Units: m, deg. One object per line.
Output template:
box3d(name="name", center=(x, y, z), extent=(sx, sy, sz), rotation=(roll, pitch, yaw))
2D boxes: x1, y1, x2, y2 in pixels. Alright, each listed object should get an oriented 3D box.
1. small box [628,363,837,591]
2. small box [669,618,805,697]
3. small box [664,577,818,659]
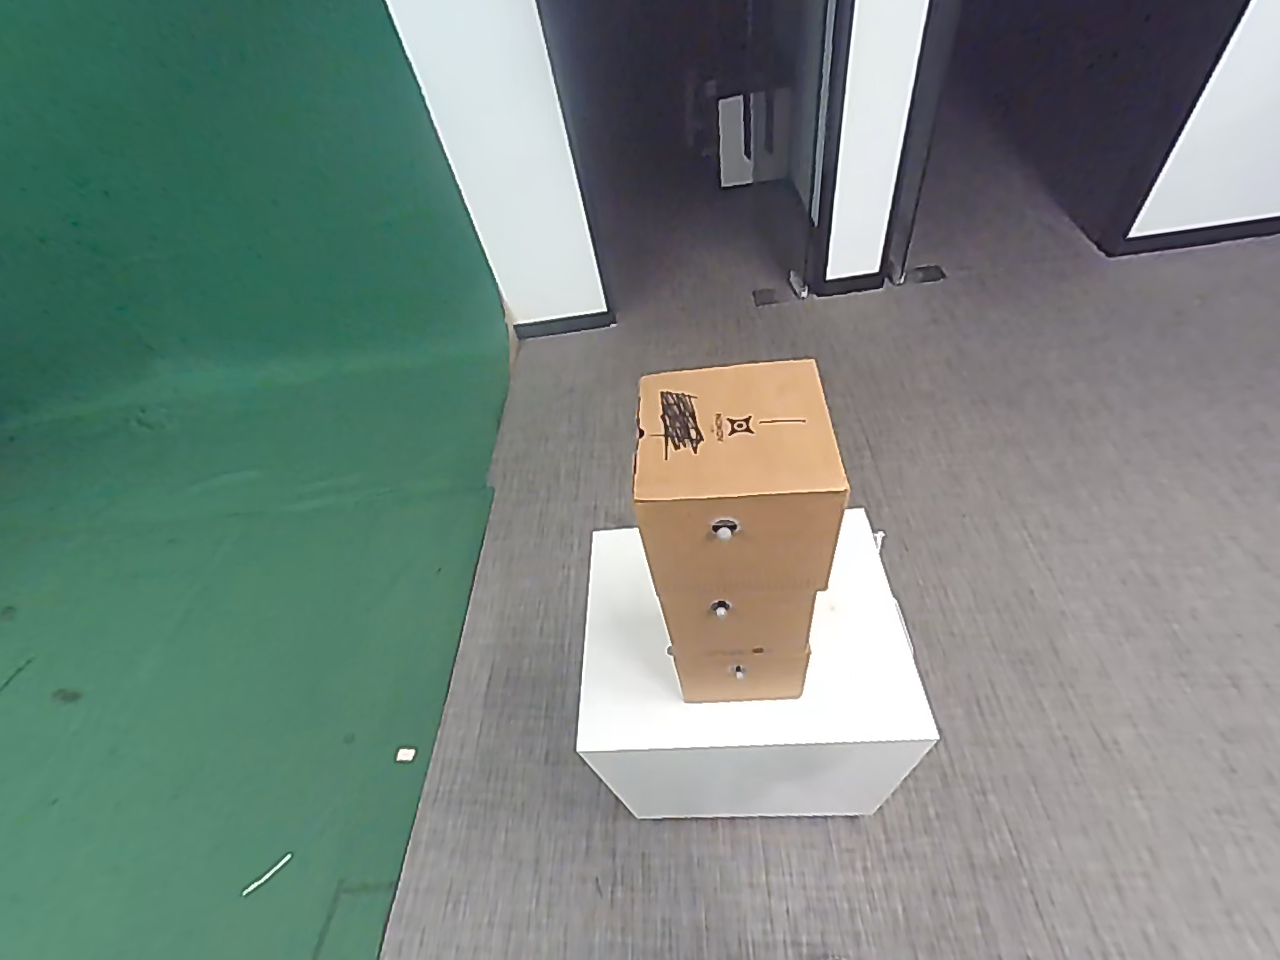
box3d(name="small box", center=(0.093, 0.003, 0.558), extent=(0.179, 0.176, 0.168), rotation=(-3, 50, 8))
box3d(name="small box", center=(0.139, 0.214, 0.805), extent=(0.179, 0.176, 0.168), rotation=(-5, 49, 7))
box3d(name="small box", center=(0.117, 0.107, 0.687), extent=(0.168, 0.176, 0.179), rotation=(-6, 50, 6))
